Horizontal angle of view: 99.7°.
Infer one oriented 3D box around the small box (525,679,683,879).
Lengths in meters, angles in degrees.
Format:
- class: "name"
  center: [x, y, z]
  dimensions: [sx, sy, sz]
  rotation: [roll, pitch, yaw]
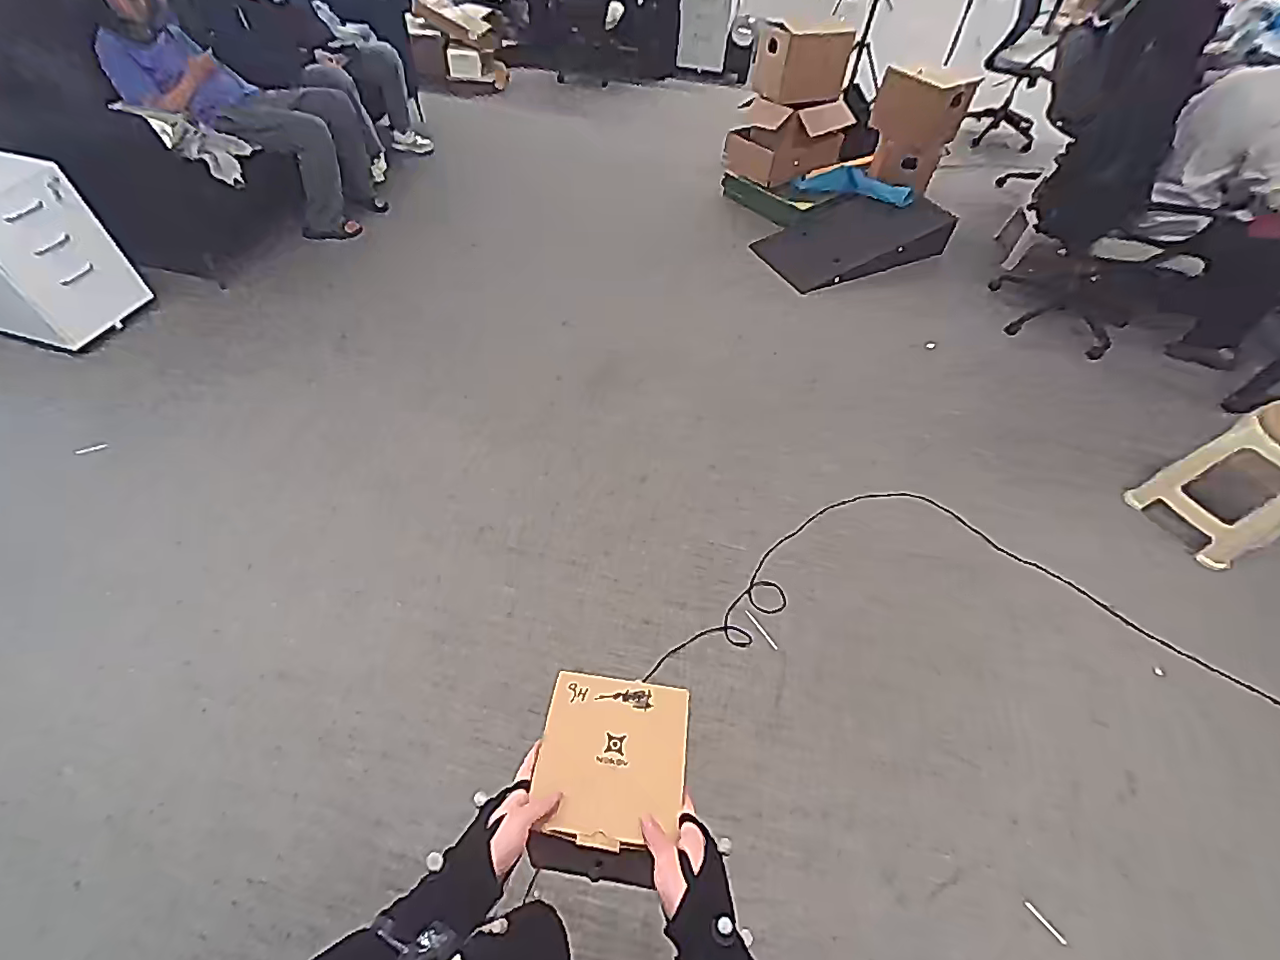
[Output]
- class: "small box"
  center: [-0.036, 0.376, 0.677]
  dimensions: [0.168, 0.176, 0.179]
  rotation: [5, 44, 1]
